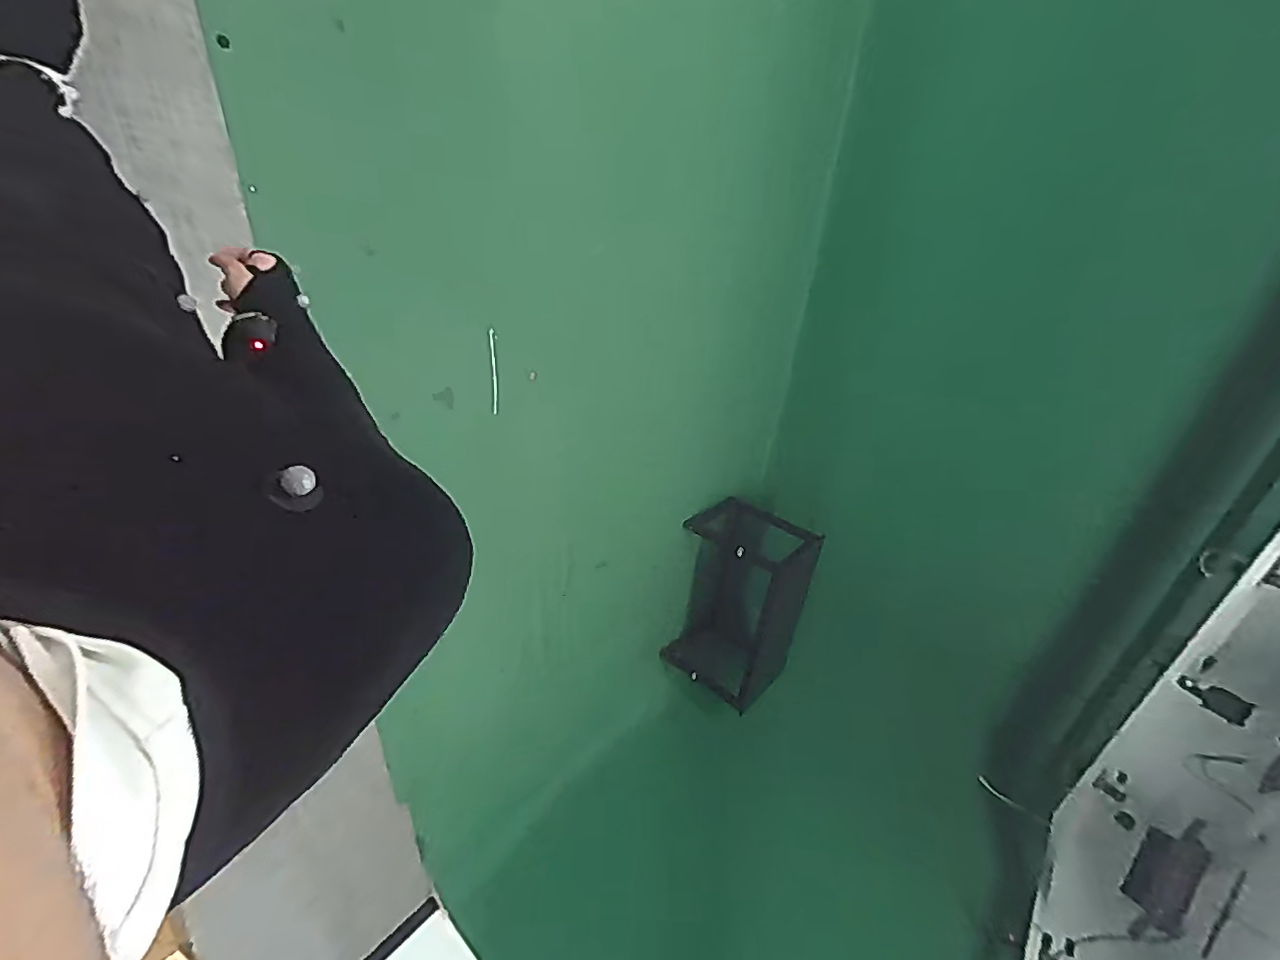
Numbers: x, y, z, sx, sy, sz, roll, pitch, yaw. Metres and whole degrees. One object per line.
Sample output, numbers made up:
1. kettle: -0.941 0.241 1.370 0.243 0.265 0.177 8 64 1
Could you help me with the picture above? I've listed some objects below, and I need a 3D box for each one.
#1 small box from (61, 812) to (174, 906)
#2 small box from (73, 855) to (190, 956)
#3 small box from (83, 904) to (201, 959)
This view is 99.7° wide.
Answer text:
1. small box: -1.470 1.086 1.524 0.168 0.176 0.179 -32 135 -38
2. small box: -1.348 1.147 1.434 0.168 0.176 0.179 -29 135 -41
3. small box: -1.231 1.211 1.342 0.168 0.176 0.179 -29 134 -41
